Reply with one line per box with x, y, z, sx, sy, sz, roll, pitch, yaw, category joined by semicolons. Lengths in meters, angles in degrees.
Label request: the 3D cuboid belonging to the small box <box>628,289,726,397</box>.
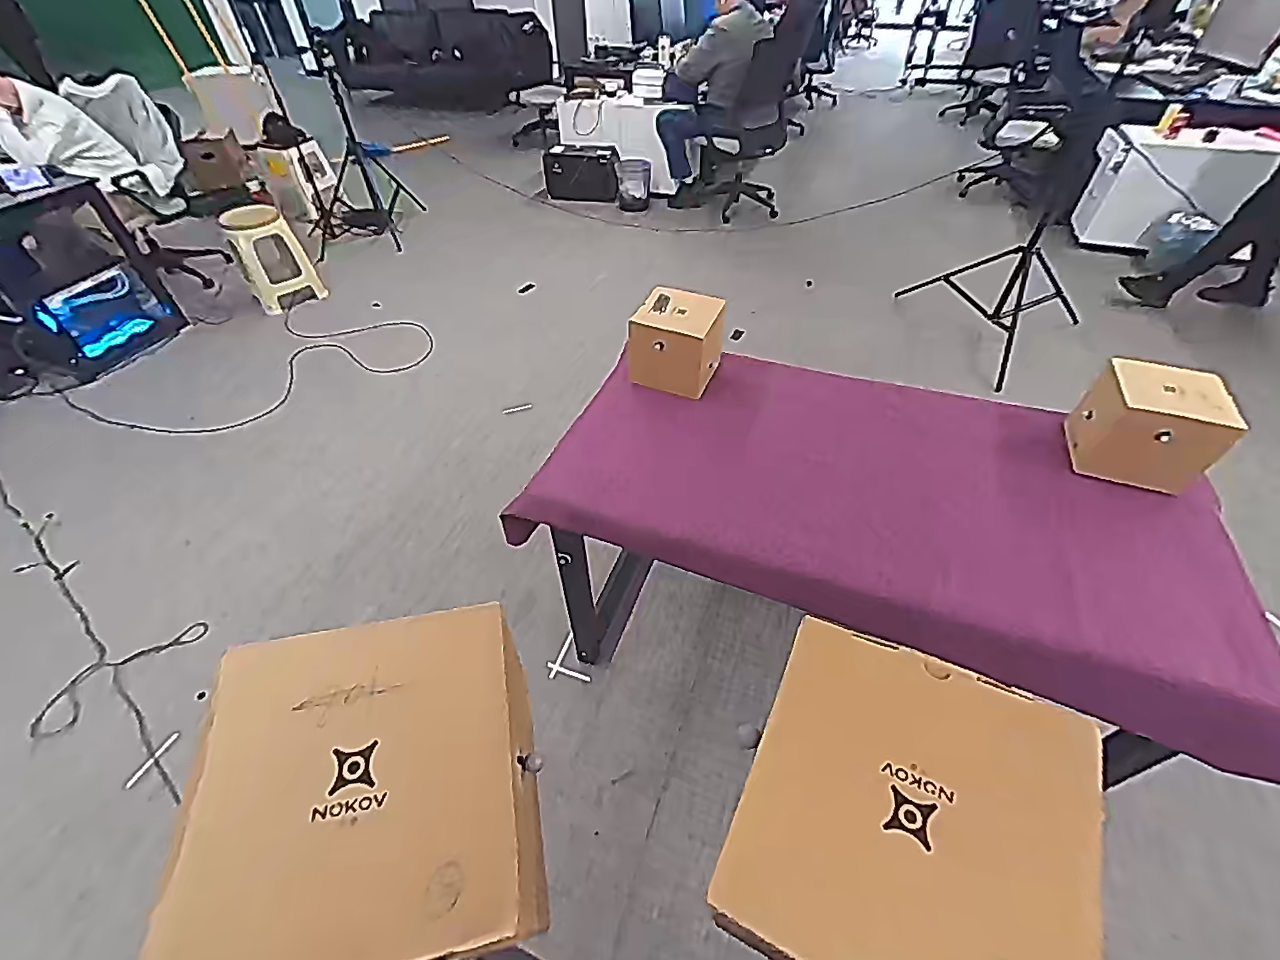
0.085;-0.317;1.258;0.179;0.176;0.168;18;51;16;small box

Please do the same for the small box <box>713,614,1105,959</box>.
0.158;0.225;0.345;0.168;0.176;0.179;16;52;23;small box

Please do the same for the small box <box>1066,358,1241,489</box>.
0.954;-0.106;1.032;0.179;0.176;0.168;16;49;15;small box

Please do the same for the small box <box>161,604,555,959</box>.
-0.150;0.208;0.352;0.168;0.176;0.179;-8;52;-11;small box
